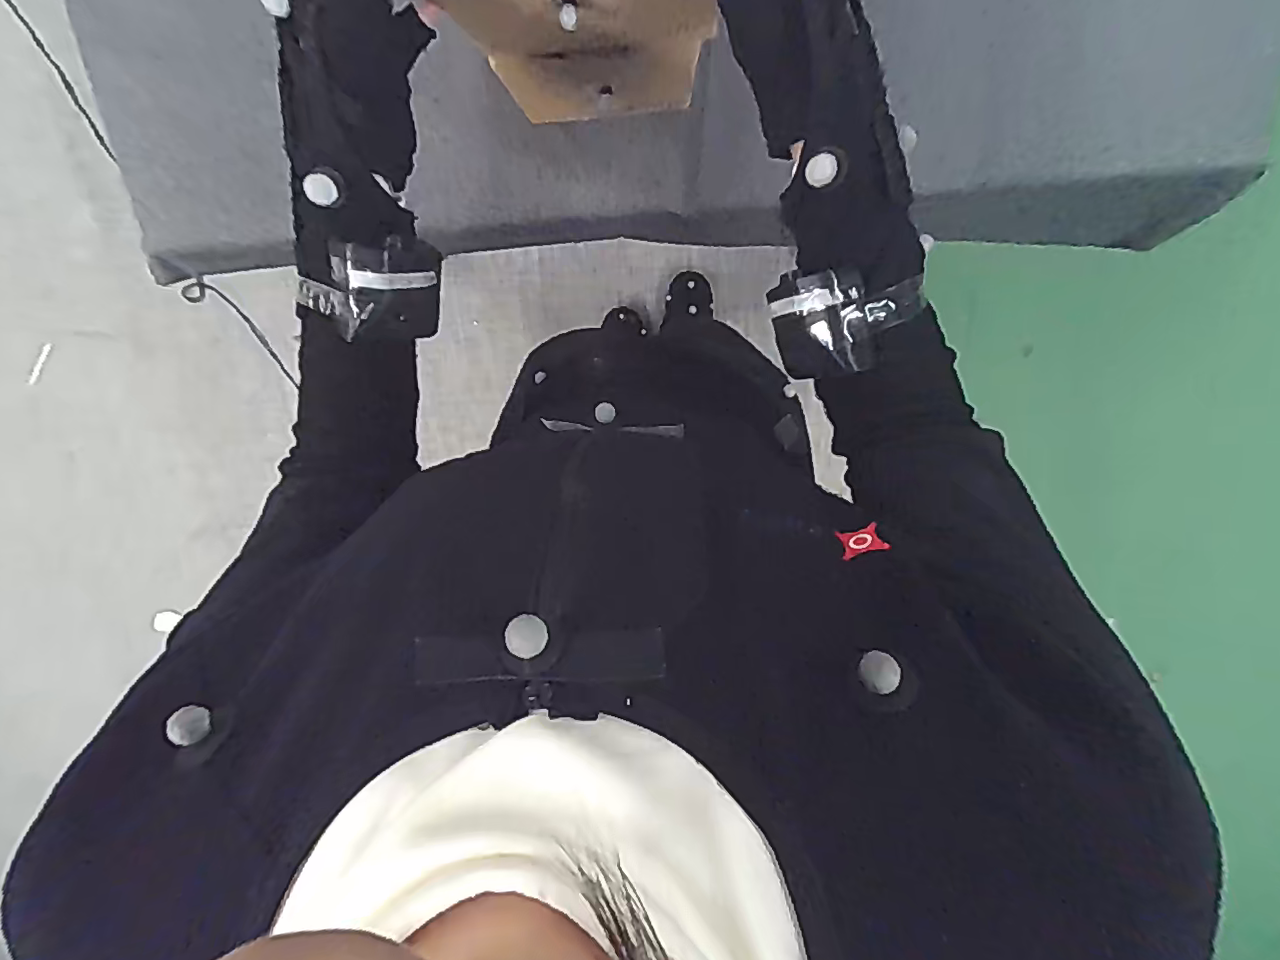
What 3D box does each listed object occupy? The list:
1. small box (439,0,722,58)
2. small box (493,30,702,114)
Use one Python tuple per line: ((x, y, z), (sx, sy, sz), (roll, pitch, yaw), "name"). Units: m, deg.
((-0.034, -0.368, 0.305), (0.179, 0.176, 0.168), (-1, 113, 5), "small box")
((-0.035, -0.434, 0.460), (0.168, 0.176, 0.179), (-4, 110, 4), "small box")
